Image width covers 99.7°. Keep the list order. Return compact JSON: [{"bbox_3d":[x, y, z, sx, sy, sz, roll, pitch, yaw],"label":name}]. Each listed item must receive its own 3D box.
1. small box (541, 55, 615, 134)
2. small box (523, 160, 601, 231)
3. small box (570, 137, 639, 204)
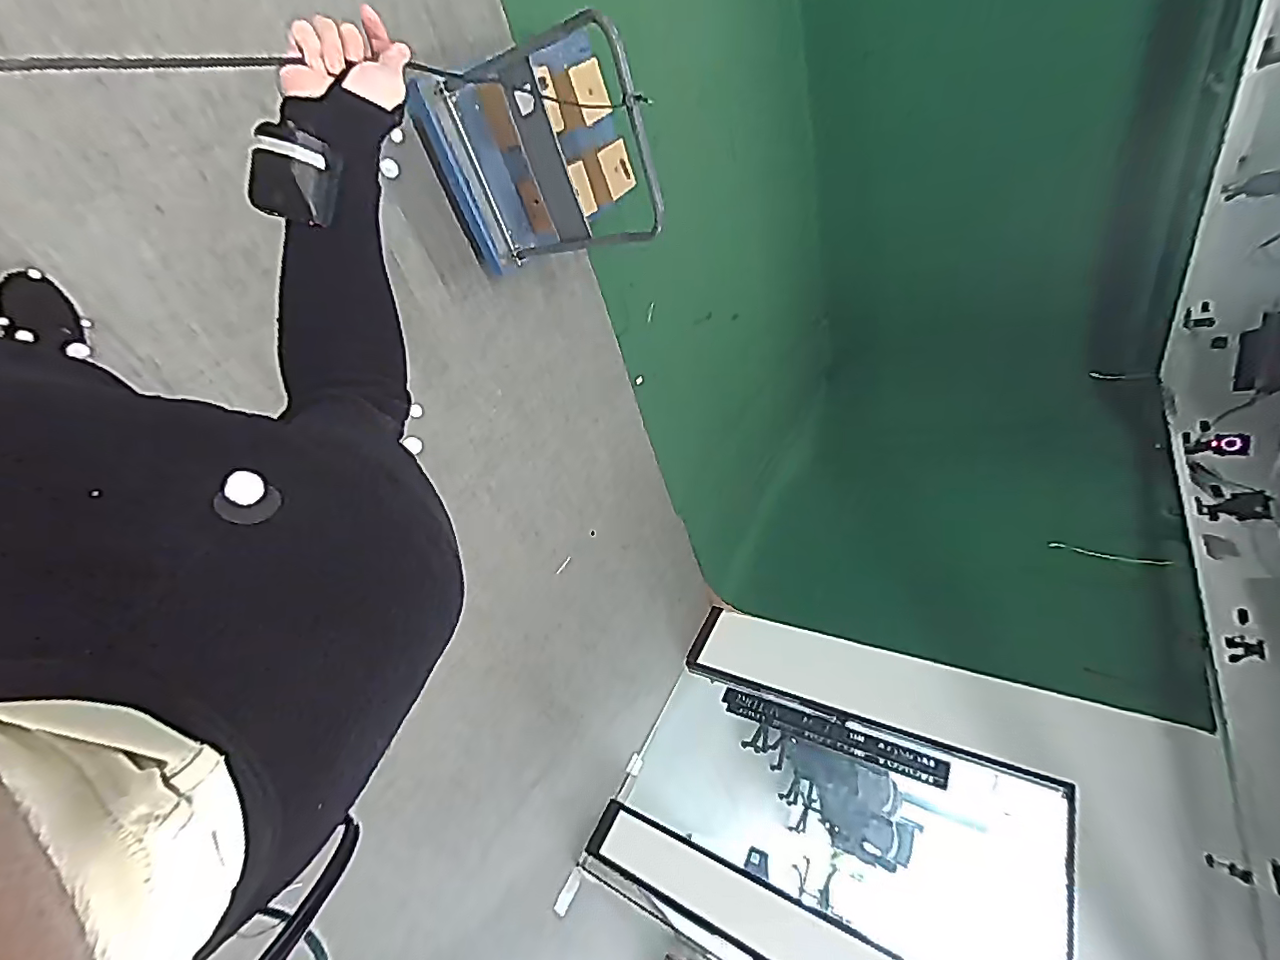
[{"bbox_3d":[-0.221,-1.340,1.887,0.179,0.176,0.168,-55,137,-34],"label":"small box"},{"bbox_3d":[-0.271,-0.988,1.882,0.179,0.176,0.168,-50,134,-36],"label":"small box"},{"bbox_3d":[-0.135,-1.159,2.040,0.179,0.176,0.168,-54,135,-33],"label":"small box"}]
